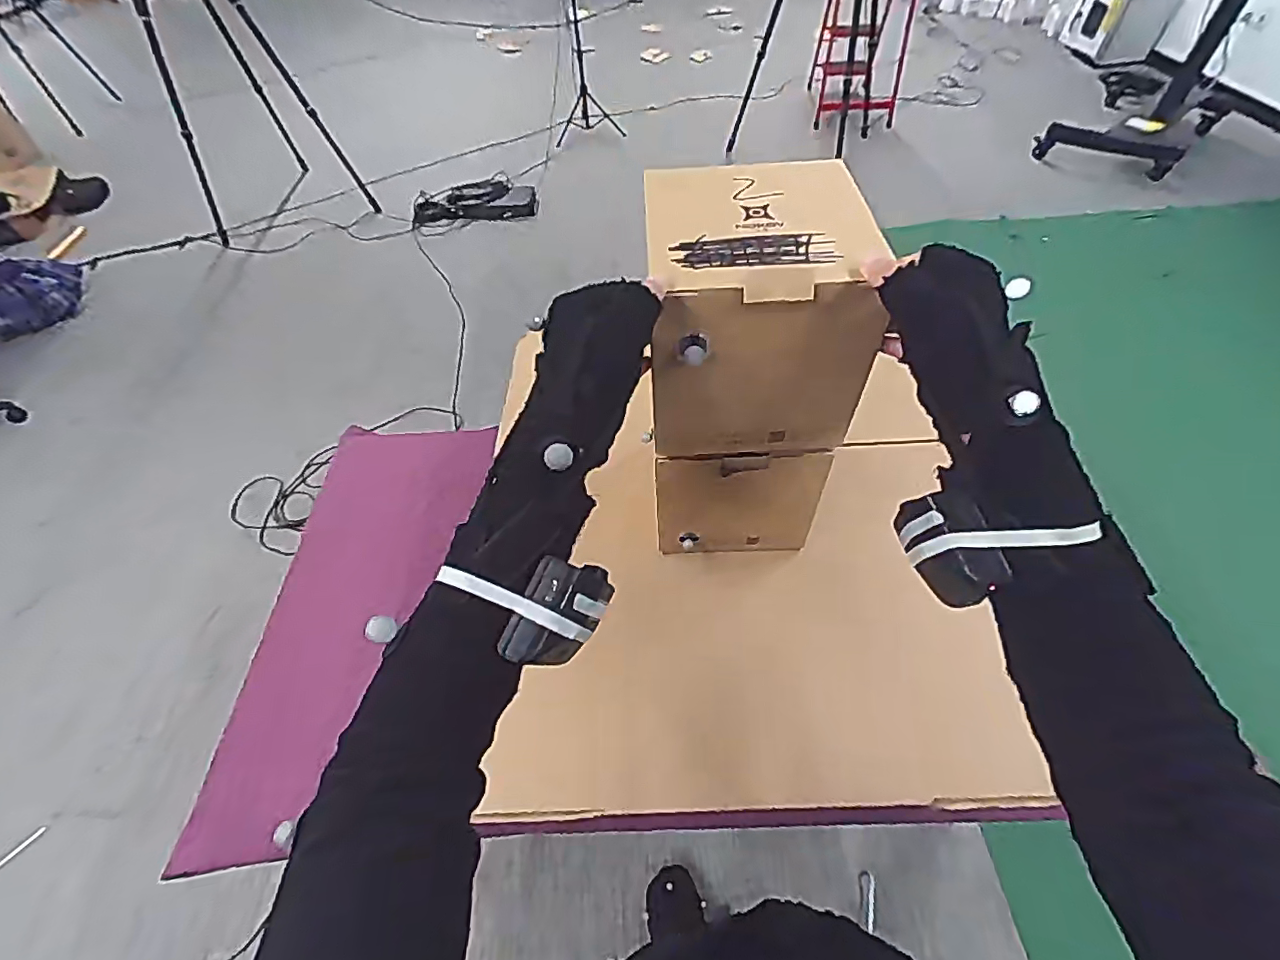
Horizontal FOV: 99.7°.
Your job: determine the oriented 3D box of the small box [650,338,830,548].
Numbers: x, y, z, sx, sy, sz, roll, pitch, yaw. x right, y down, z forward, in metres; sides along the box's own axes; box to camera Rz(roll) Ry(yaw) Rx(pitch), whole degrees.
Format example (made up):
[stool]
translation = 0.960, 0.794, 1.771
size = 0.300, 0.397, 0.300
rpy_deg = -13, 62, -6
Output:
[small box]
translation = 0.098, -0.034, 0.605
size = 0.168, 0.176, 0.179
rpy_deg = -2, 51, 2
